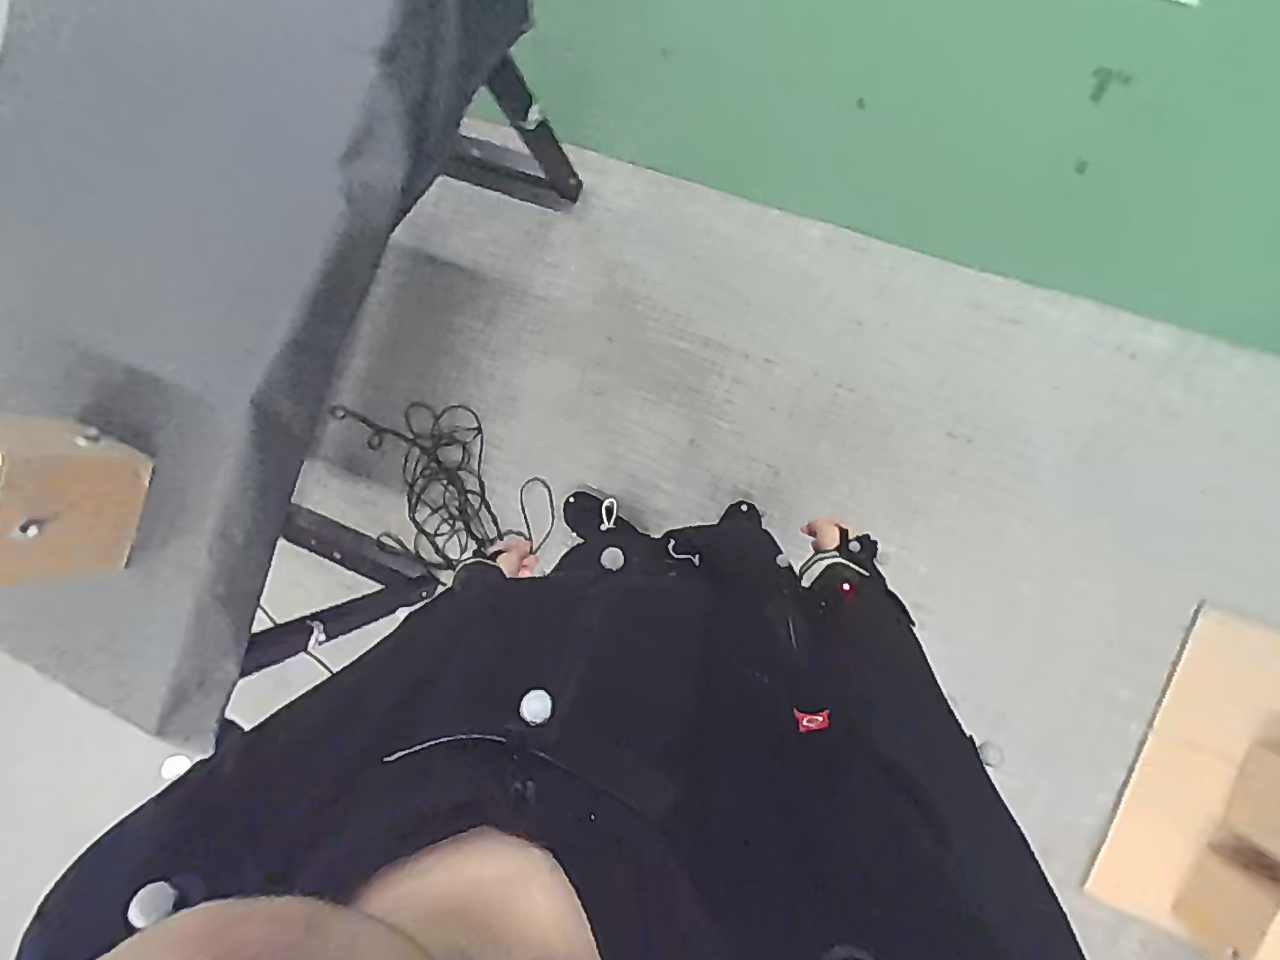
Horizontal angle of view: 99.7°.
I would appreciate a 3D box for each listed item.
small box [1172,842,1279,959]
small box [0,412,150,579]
[{"bbox_3d":[1.230,0.874,1.072,0.168,0.176,0.179,21,95,9],"label":"small box"},{"bbox_3d":[-0.799,0.018,0.702,0.168,0.176,0.179,21,94,8],"label":"small box"}]
